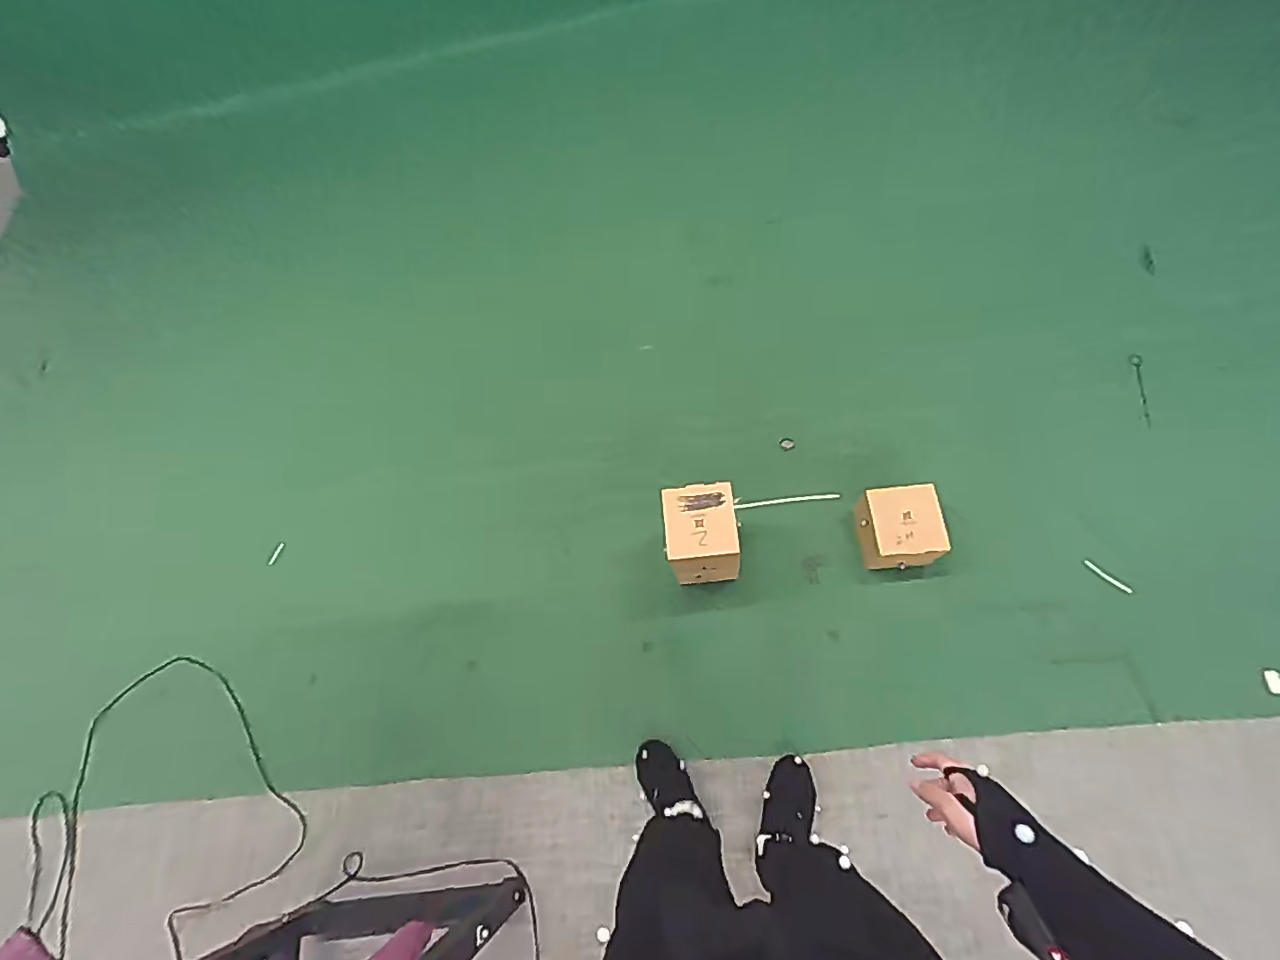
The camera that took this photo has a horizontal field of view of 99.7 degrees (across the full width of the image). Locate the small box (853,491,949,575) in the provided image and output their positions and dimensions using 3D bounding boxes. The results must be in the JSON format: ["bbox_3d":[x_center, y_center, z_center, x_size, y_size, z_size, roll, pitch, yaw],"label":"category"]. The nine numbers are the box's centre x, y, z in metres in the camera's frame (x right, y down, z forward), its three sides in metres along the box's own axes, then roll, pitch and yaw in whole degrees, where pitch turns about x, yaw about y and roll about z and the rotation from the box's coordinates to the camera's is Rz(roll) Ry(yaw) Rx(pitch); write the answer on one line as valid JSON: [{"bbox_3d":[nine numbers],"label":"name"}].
[{"bbox_3d":[0.671,0.143,1.416,0.168,0.176,0.179,-5,68,6],"label":"small box"}]

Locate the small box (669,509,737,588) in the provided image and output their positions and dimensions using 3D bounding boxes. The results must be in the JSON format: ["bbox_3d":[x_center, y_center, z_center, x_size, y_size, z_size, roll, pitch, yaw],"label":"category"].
[{"bbox_3d":[0.174,0.194,1.472,0.168,0.176,0.179,-7,67,6],"label":"small box"}]
